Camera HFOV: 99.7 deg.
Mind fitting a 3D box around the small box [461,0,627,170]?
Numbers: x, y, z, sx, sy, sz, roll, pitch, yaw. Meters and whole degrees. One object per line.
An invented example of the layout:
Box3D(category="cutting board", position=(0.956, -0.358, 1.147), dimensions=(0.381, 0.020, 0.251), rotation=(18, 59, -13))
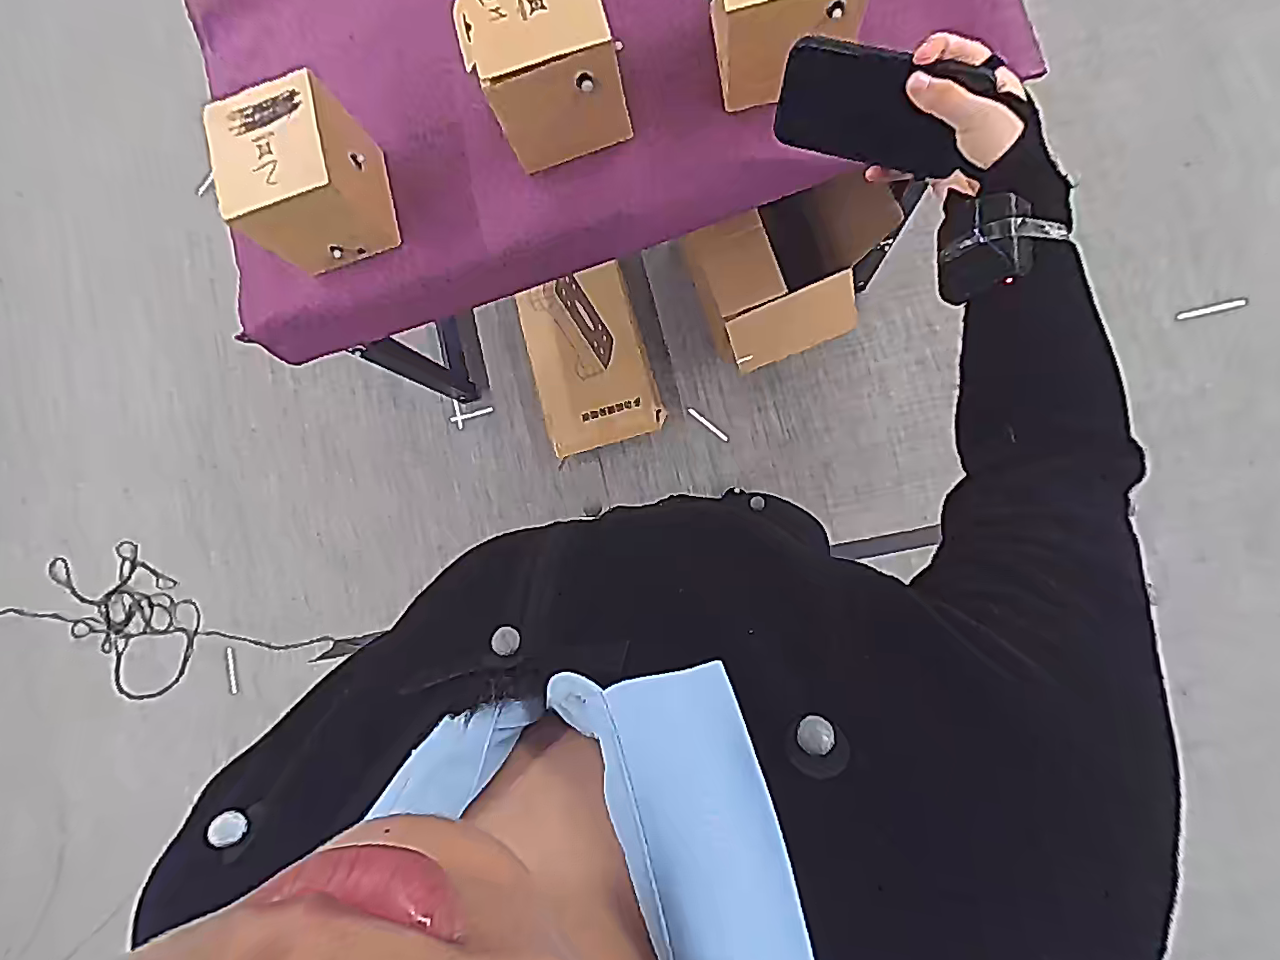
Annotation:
Box3D(category="small box", position=(-0.123, -0.580, 0.755), dimensions=(0.179, 0.176, 0.168), rotation=(-15, 81, 7))

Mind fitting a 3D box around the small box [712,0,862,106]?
Box3D(category="small box", position=(0.188, -0.640, 0.716), dimensions=(0.179, 0.176, 0.168), rotation=(-8, 85, 7))
